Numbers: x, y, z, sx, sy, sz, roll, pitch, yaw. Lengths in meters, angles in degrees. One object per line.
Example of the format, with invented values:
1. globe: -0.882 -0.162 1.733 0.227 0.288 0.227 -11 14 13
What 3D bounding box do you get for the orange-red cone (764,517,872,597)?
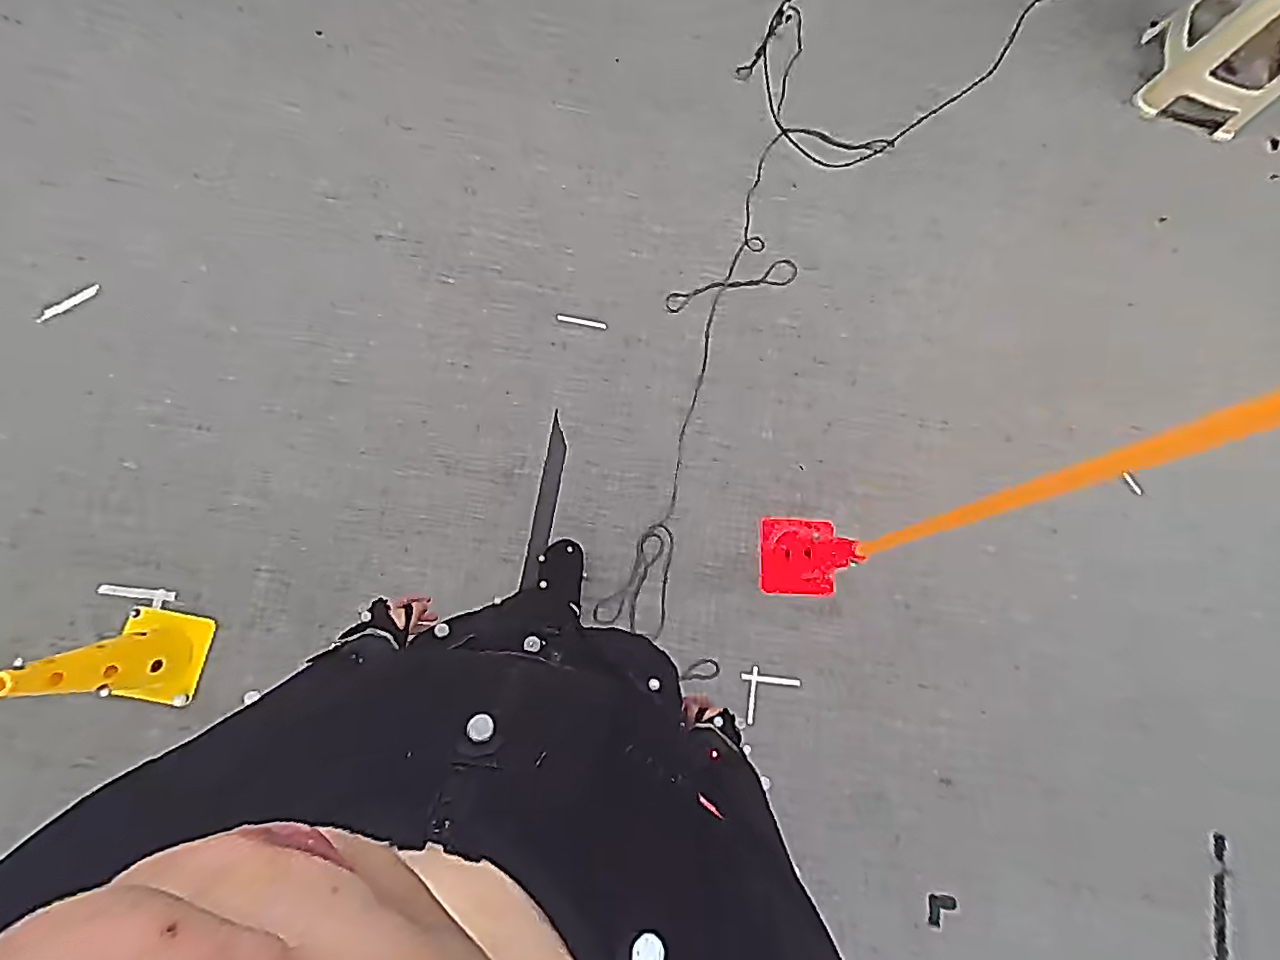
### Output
1. orange-red cone: 0.431 0.168 1.244 0.199 0.360 0.198 5 79 -2
